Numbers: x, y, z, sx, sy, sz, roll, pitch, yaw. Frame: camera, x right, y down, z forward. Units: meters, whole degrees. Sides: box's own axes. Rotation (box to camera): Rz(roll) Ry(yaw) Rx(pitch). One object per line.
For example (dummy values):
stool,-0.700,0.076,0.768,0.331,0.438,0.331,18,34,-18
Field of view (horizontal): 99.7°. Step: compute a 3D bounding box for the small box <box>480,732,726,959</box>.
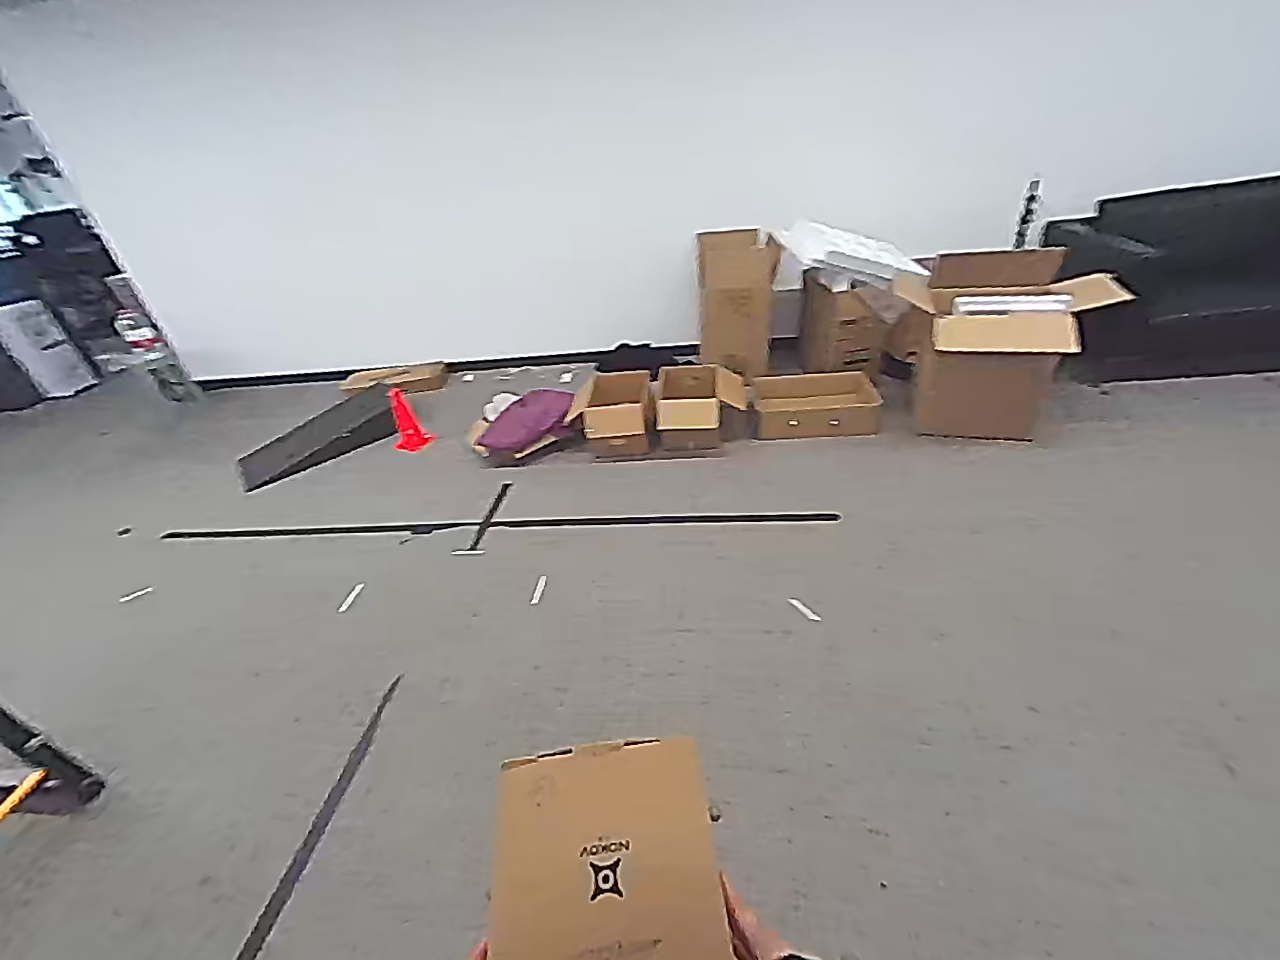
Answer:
small box,-0.026,0.338,0.450,0.168,0.176,0.179,-7,46,-1
